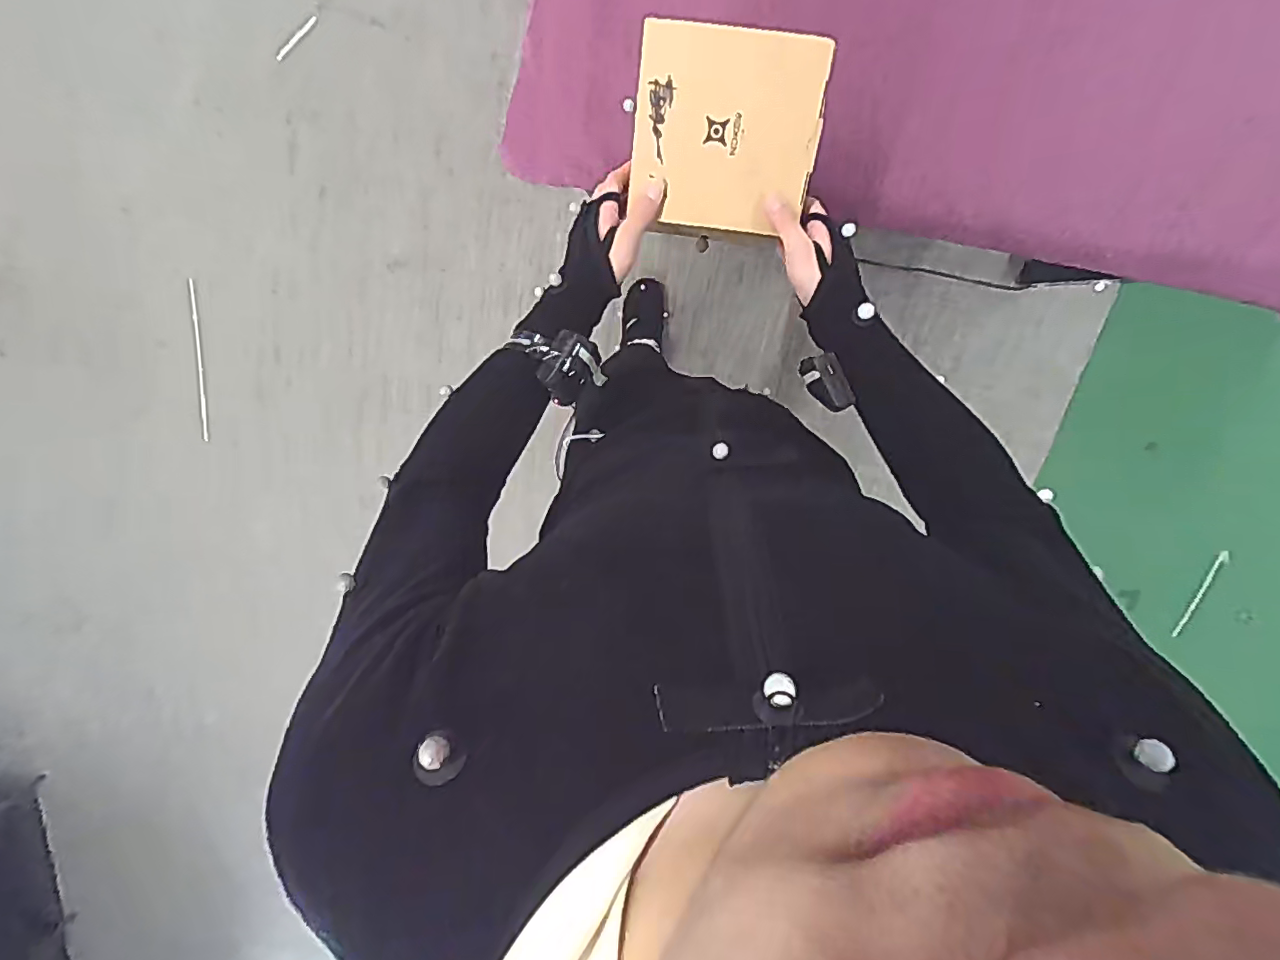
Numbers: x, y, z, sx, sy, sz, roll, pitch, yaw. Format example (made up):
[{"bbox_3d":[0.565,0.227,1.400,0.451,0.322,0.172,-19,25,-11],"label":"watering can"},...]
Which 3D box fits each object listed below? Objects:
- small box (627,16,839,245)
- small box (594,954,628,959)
[{"bbox_3d":[0.085,-0.354,0.584,0.179,0.176,0.168,8,111,-1],"label":"small box"},{"bbox_3d":[-0.053,1.384,1.401,0.179,0.176,0.168,13,106,-2],"label":"small box"}]
